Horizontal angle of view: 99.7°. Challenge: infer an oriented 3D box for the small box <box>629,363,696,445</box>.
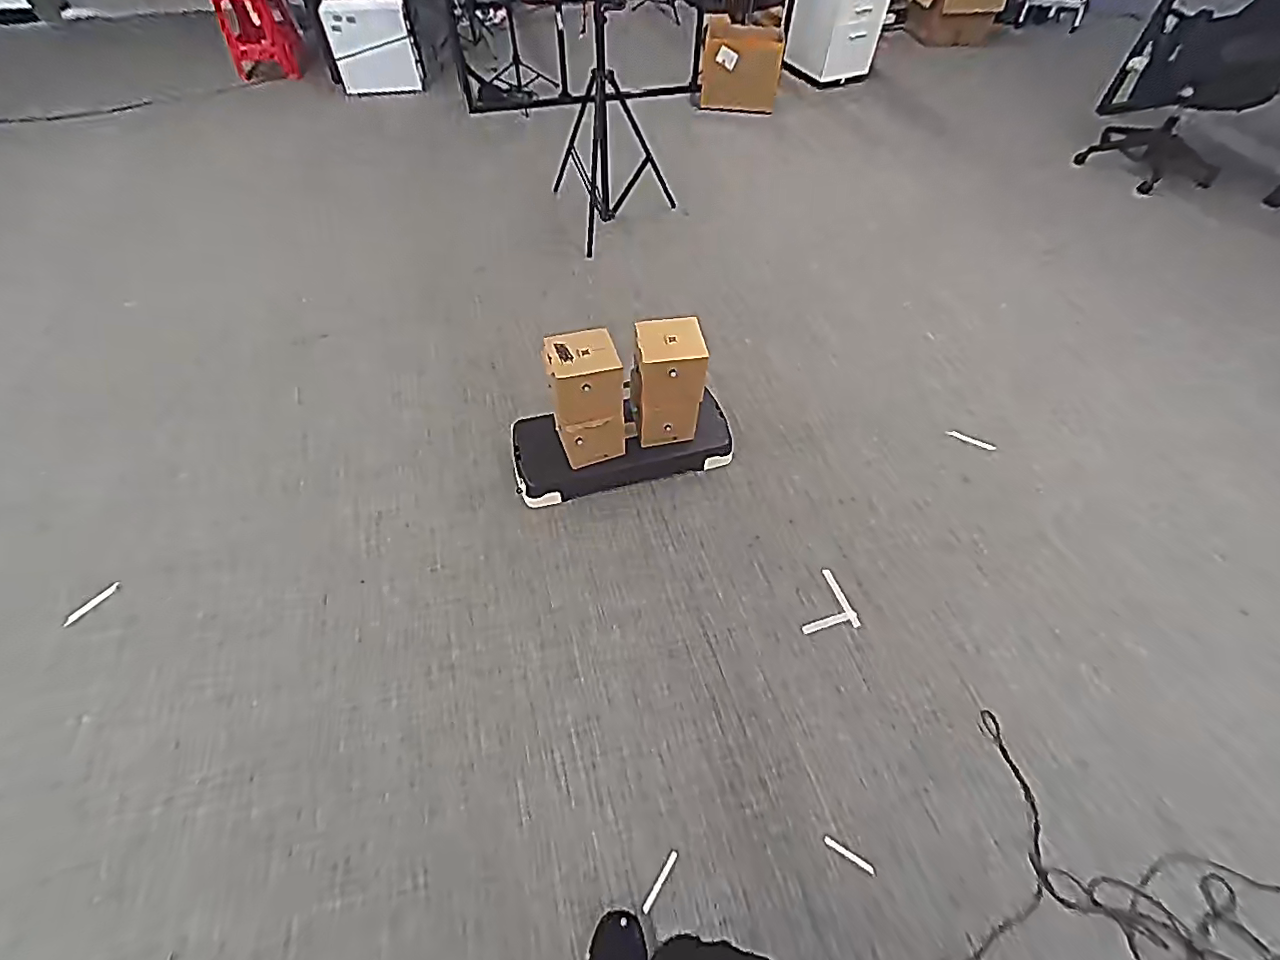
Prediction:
[{"bbox_3d":[0.064,-0.220,1.622,0.168,0.176,0.179,-9,55,-8],"label":"small box"}]
